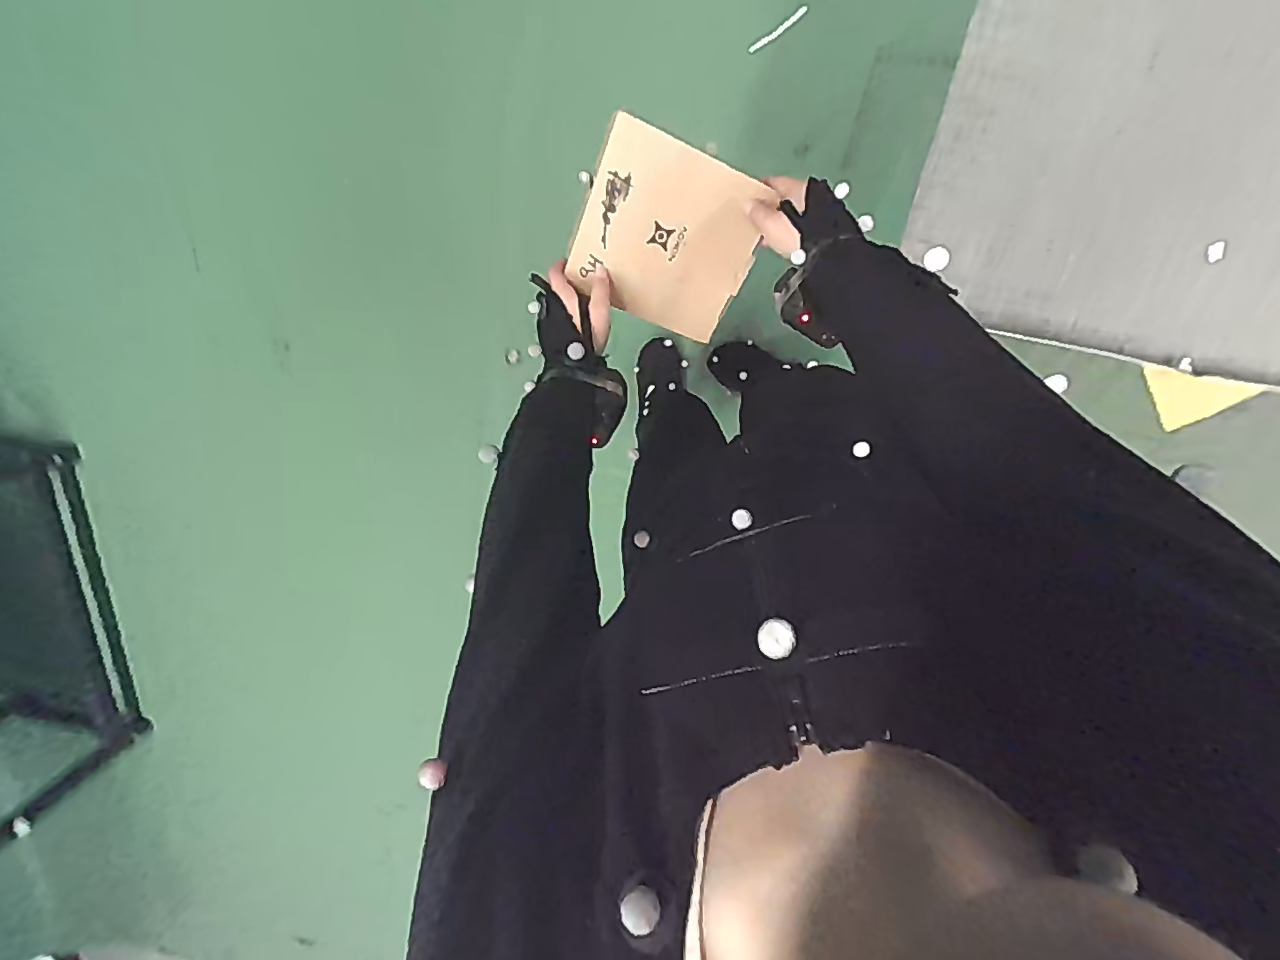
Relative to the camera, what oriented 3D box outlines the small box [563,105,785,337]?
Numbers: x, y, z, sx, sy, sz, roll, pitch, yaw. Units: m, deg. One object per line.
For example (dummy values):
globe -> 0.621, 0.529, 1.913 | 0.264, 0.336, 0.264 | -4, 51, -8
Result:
small box -> 0.027, -0.292, 0.607 | 0.179, 0.176, 0.168 | 19, 121, -16
